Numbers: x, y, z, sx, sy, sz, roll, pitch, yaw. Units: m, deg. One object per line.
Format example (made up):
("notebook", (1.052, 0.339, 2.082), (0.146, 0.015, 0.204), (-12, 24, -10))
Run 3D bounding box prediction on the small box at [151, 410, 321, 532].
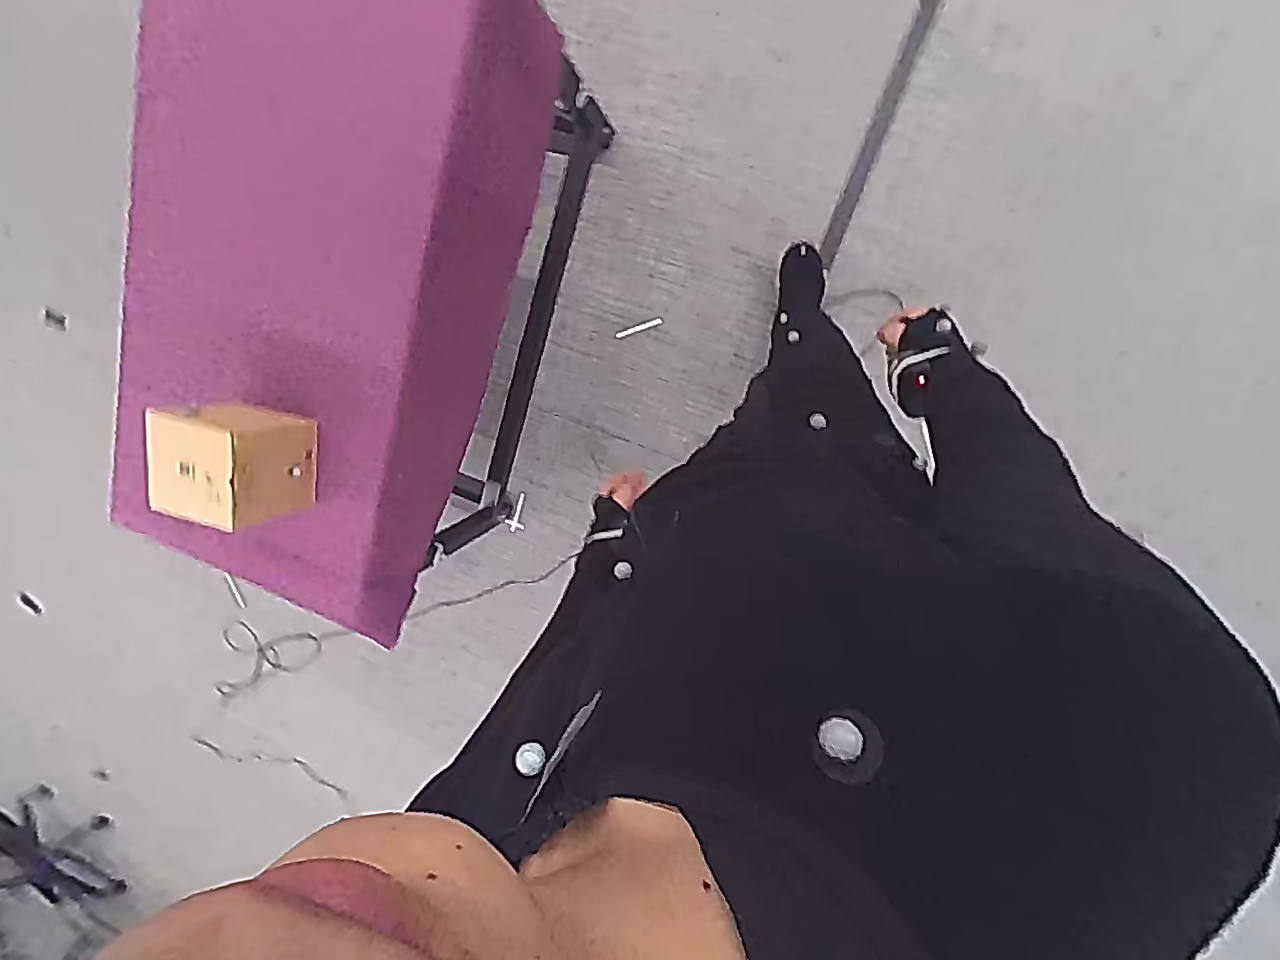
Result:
("small box", (-0.703, -0.025, 0.952), (0.179, 0.176, 0.168), (13, 104, 10))
